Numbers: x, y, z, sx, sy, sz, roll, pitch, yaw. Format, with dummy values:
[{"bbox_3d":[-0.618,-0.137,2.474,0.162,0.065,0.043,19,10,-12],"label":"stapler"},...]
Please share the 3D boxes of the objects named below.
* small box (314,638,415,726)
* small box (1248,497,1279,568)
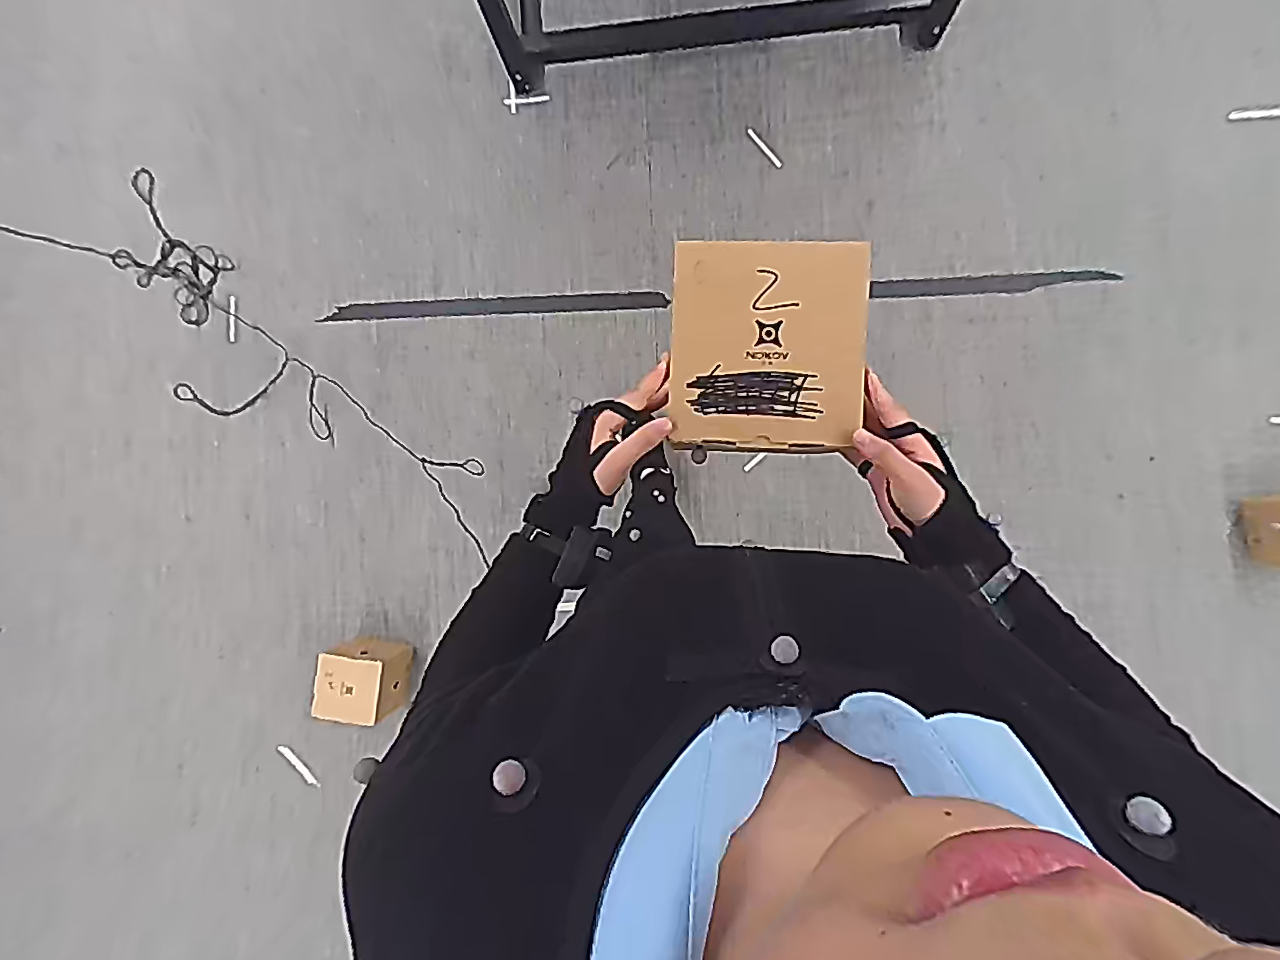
[{"bbox_3d":[-0.735,0.538,1.463,0.179,0.176,0.168,7,88,5],"label":"small box"},{"bbox_3d":[1.617,0.121,1.283,0.179,0.176,0.168,-9,87,4],"label":"small box"}]
